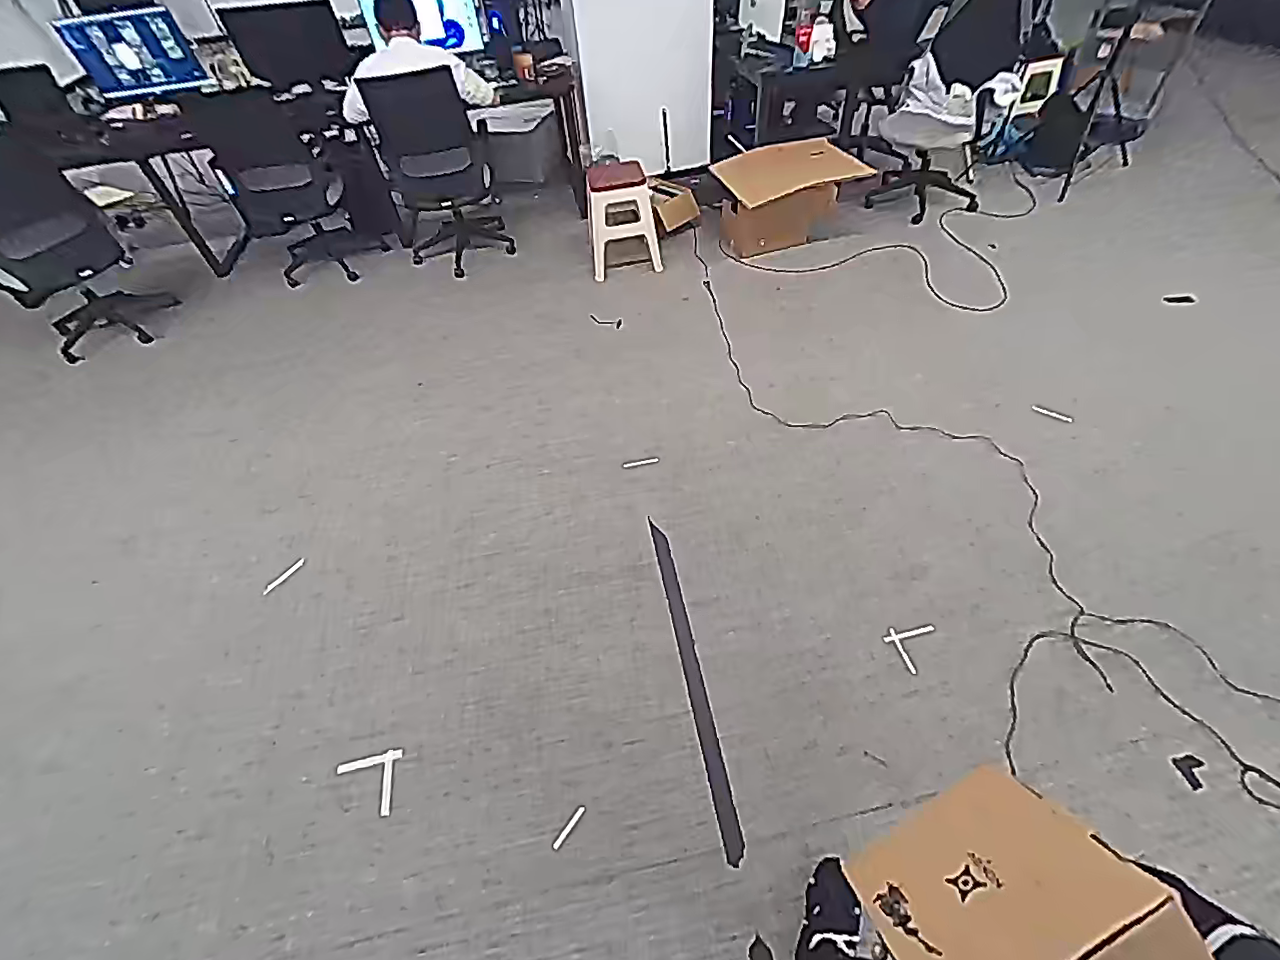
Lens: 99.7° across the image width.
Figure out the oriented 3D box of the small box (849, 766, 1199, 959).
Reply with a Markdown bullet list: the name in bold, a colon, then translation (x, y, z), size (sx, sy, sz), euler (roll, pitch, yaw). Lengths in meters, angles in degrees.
- **small box**: translation (0.314, 0.387, 0.437), size (0.179, 0.168, 0.176), euler (-32, 91, -2)
